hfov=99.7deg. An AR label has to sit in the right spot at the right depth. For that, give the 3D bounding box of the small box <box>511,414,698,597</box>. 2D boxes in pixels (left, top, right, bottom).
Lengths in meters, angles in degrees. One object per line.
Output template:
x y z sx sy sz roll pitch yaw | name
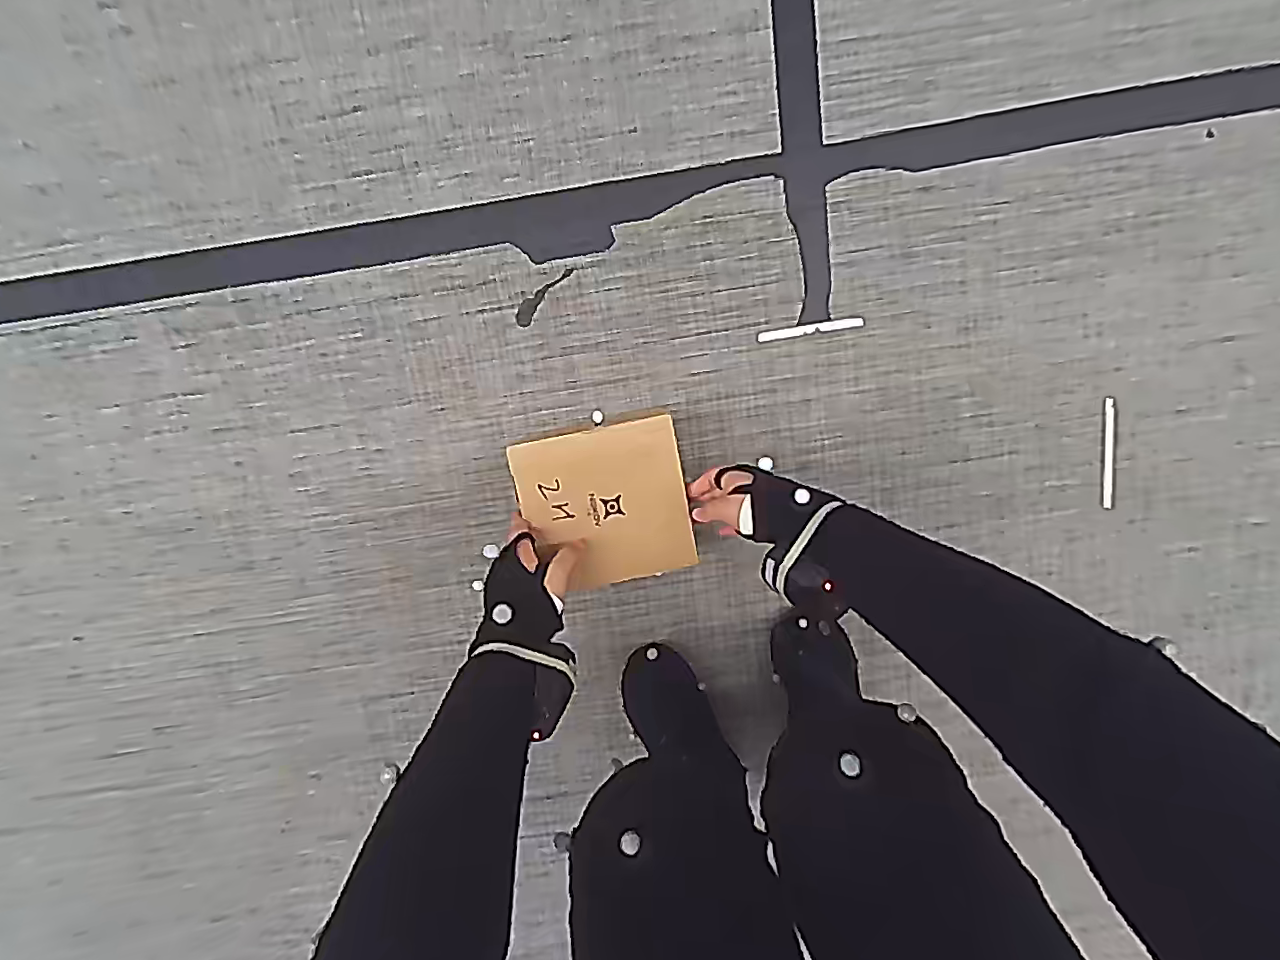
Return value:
-0.039 0.018 0.646 0.179 0.176 0.168 -11 100 0 | small box
